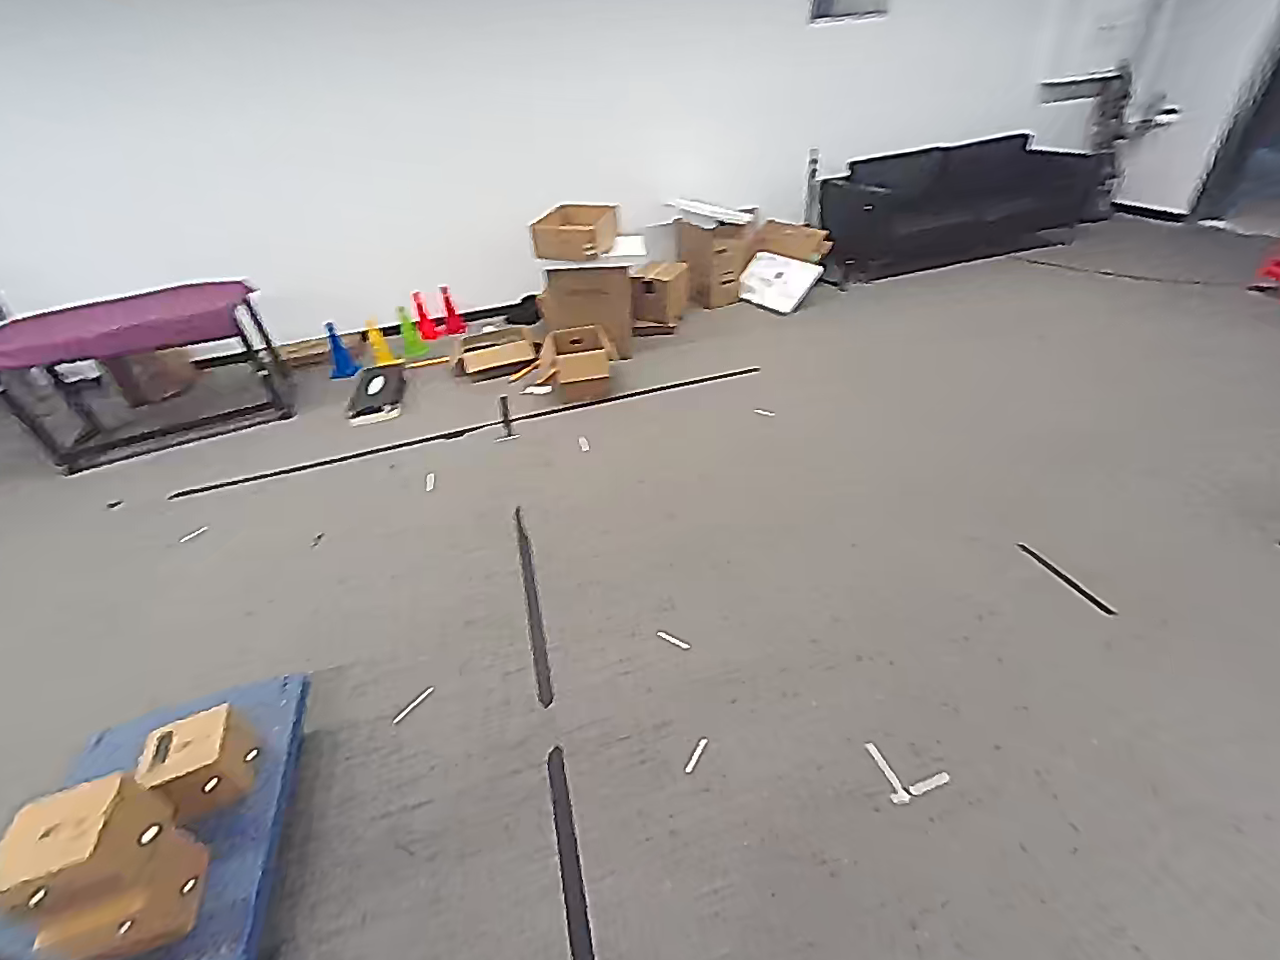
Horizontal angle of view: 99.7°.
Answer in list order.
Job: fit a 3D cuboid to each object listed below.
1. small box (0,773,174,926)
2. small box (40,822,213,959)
[{"bbox_3d":[-1.072,0.717,1.050,0.179,0.176,0.168,-16,37,-14],"label":"small box"},{"bbox_3d":[-1.049,0.864,1.125,0.179,0.176,0.168,-16,37,-14],"label":"small box"}]
